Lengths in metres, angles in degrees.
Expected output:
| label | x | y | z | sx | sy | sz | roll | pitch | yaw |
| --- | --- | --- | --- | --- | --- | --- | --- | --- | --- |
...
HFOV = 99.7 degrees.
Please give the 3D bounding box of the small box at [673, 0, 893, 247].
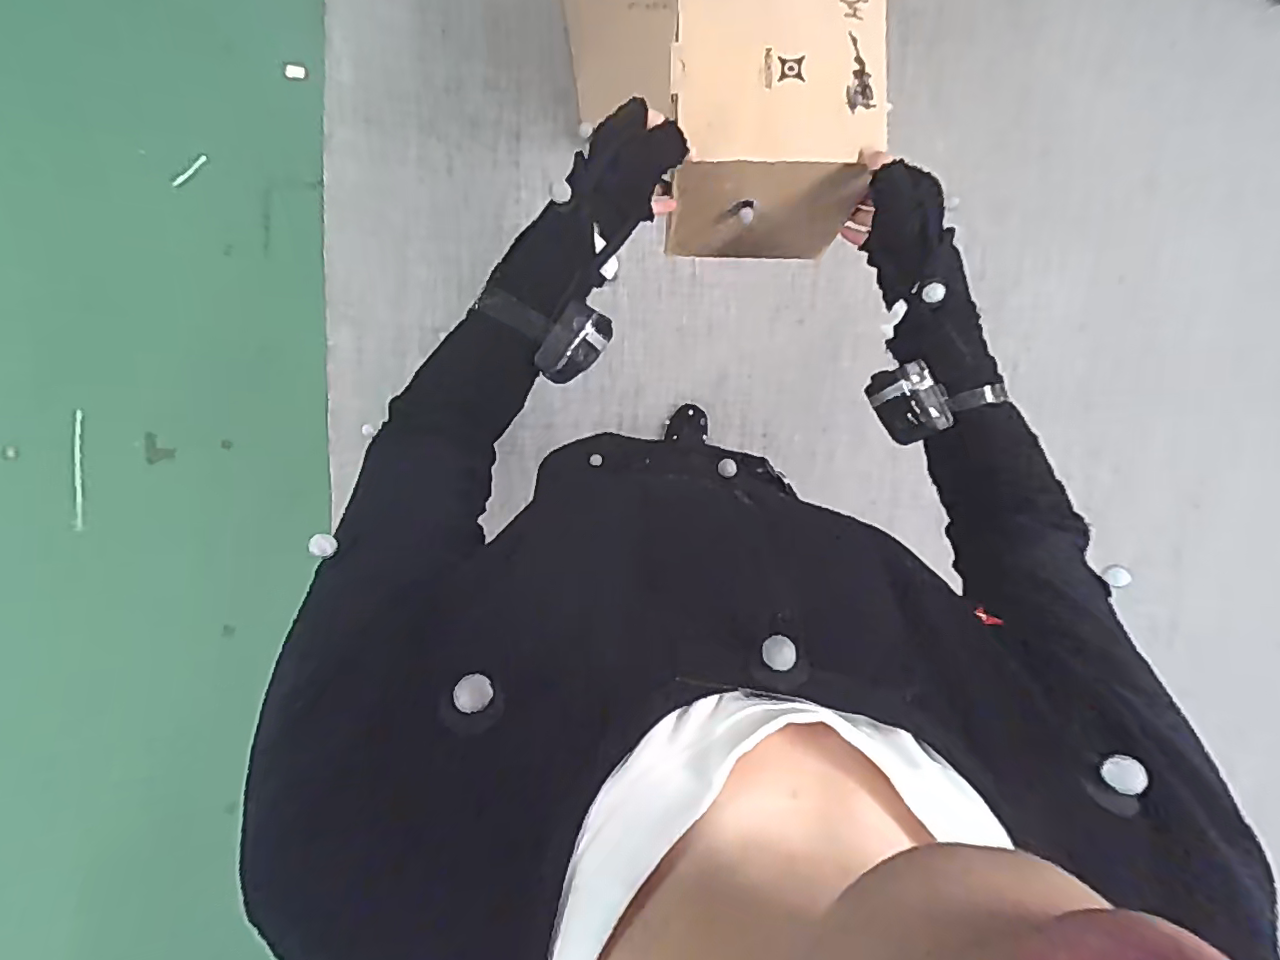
| label | x | y | z | sx | sy | sz | roll | pitch | yaw |
| --- | --- | --- | --- | --- | --- | --- | --- | --- | --- |
| small box | 0.123 | -0.345 | 0.526 | 0.179 | 0.176 | 0.168 | 1 | 86 | 1 |
